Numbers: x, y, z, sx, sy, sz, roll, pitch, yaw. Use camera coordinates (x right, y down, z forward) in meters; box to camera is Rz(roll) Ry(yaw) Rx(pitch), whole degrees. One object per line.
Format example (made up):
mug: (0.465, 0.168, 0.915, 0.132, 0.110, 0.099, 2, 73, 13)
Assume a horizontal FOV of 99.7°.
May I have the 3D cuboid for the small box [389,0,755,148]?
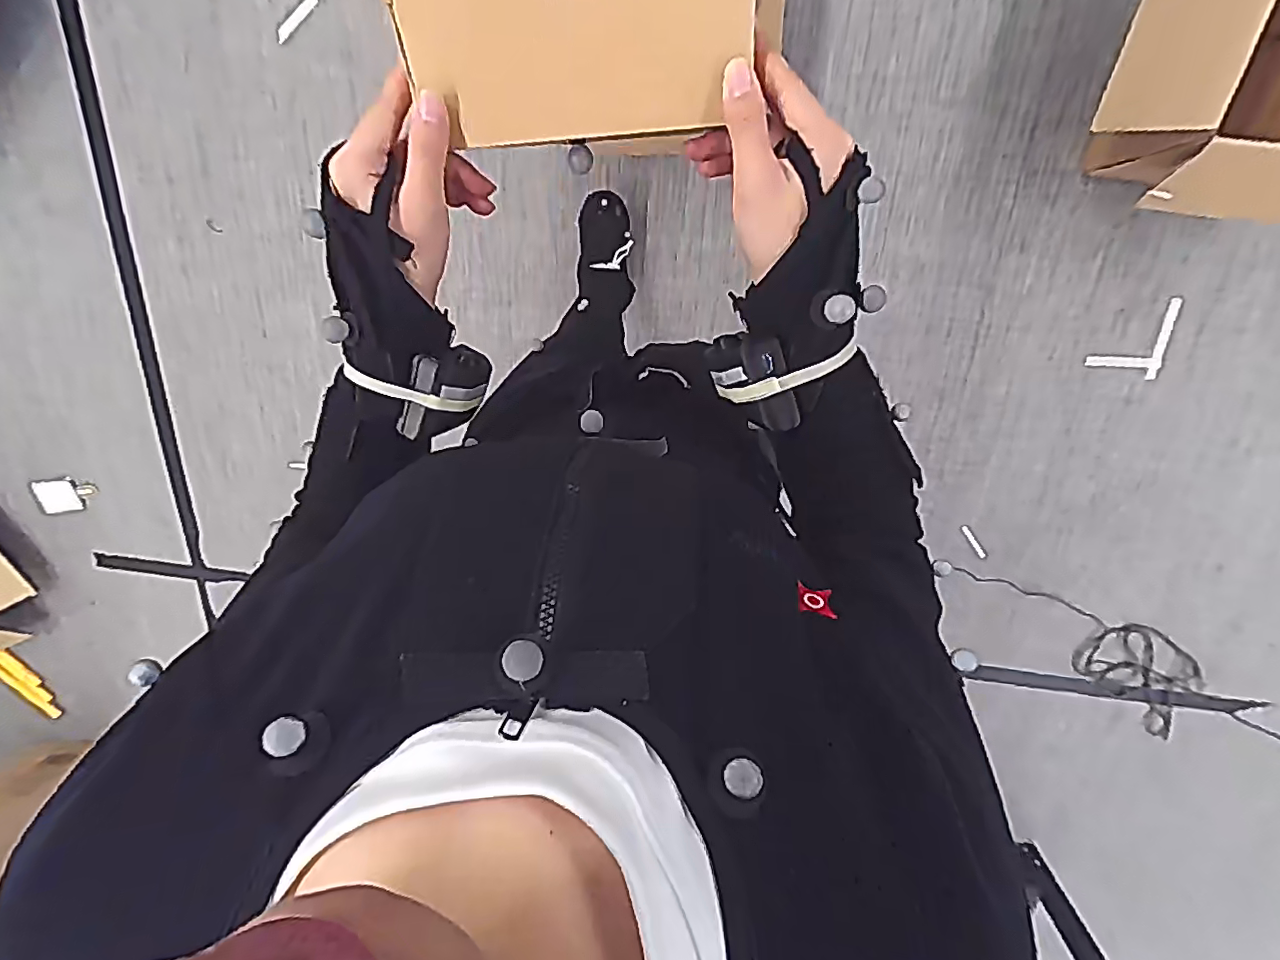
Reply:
small box: (-0.034, -0.294, 0.308, 0.179, 0.176, 0.168, -3, 122, 3)
